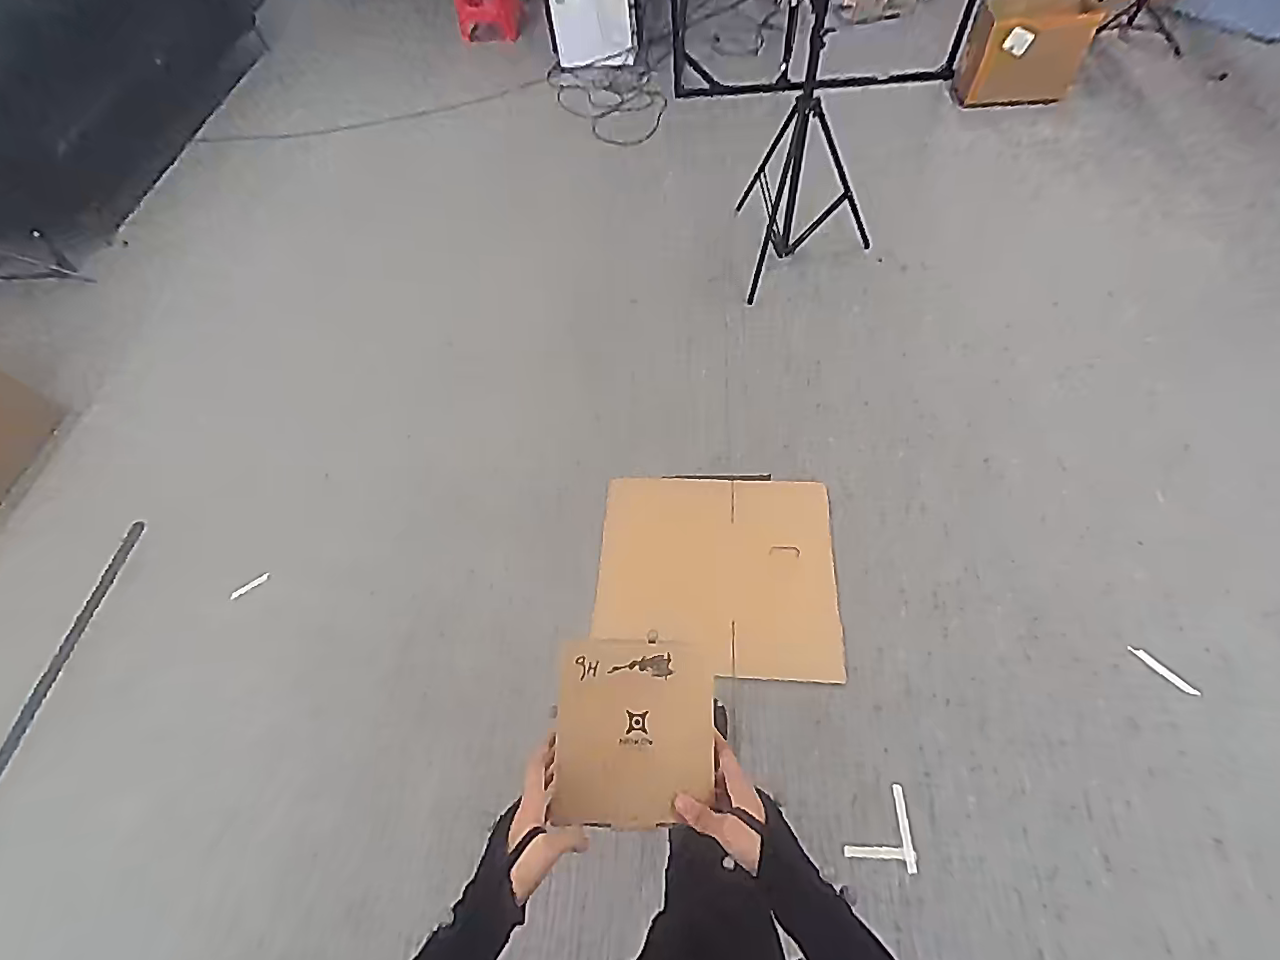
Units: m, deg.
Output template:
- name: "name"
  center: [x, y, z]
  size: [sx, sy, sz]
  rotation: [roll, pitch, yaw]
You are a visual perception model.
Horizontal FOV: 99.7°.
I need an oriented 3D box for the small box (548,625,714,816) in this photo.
- name: "small box"
  center: [-0.013, 0.265, 0.630]
  size: [0.168, 0.176, 0.179]
  rotation: [4, 75, -6]
